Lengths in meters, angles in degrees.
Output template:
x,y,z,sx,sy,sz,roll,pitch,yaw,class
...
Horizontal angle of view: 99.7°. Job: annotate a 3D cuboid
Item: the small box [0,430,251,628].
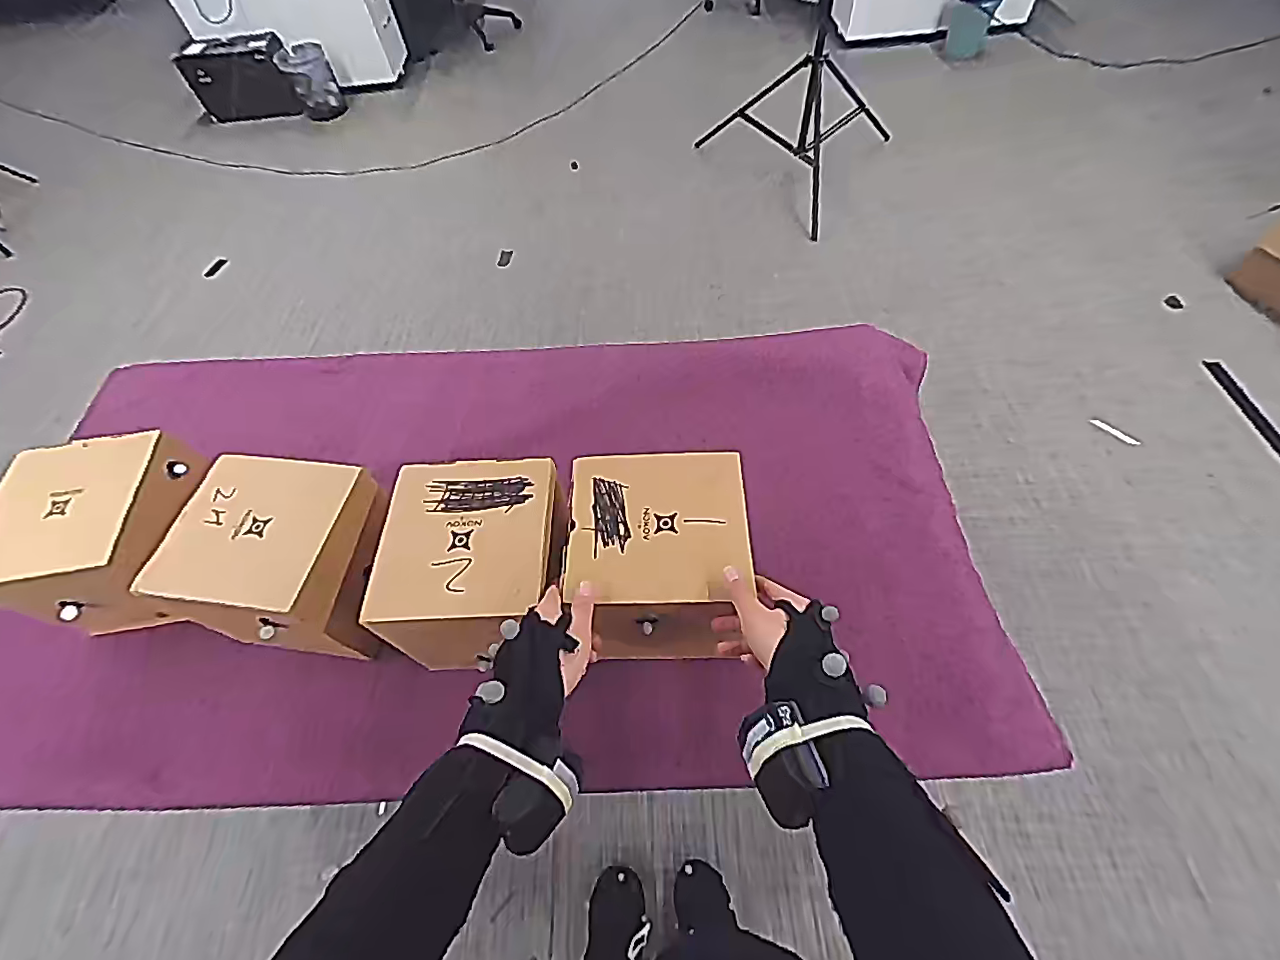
x,y,z,sx,sy,sz,roll,pitch,yaw,class
-0.617,0.068,0.655,0.168,0.176,0.179,-10,58,-2,small box
